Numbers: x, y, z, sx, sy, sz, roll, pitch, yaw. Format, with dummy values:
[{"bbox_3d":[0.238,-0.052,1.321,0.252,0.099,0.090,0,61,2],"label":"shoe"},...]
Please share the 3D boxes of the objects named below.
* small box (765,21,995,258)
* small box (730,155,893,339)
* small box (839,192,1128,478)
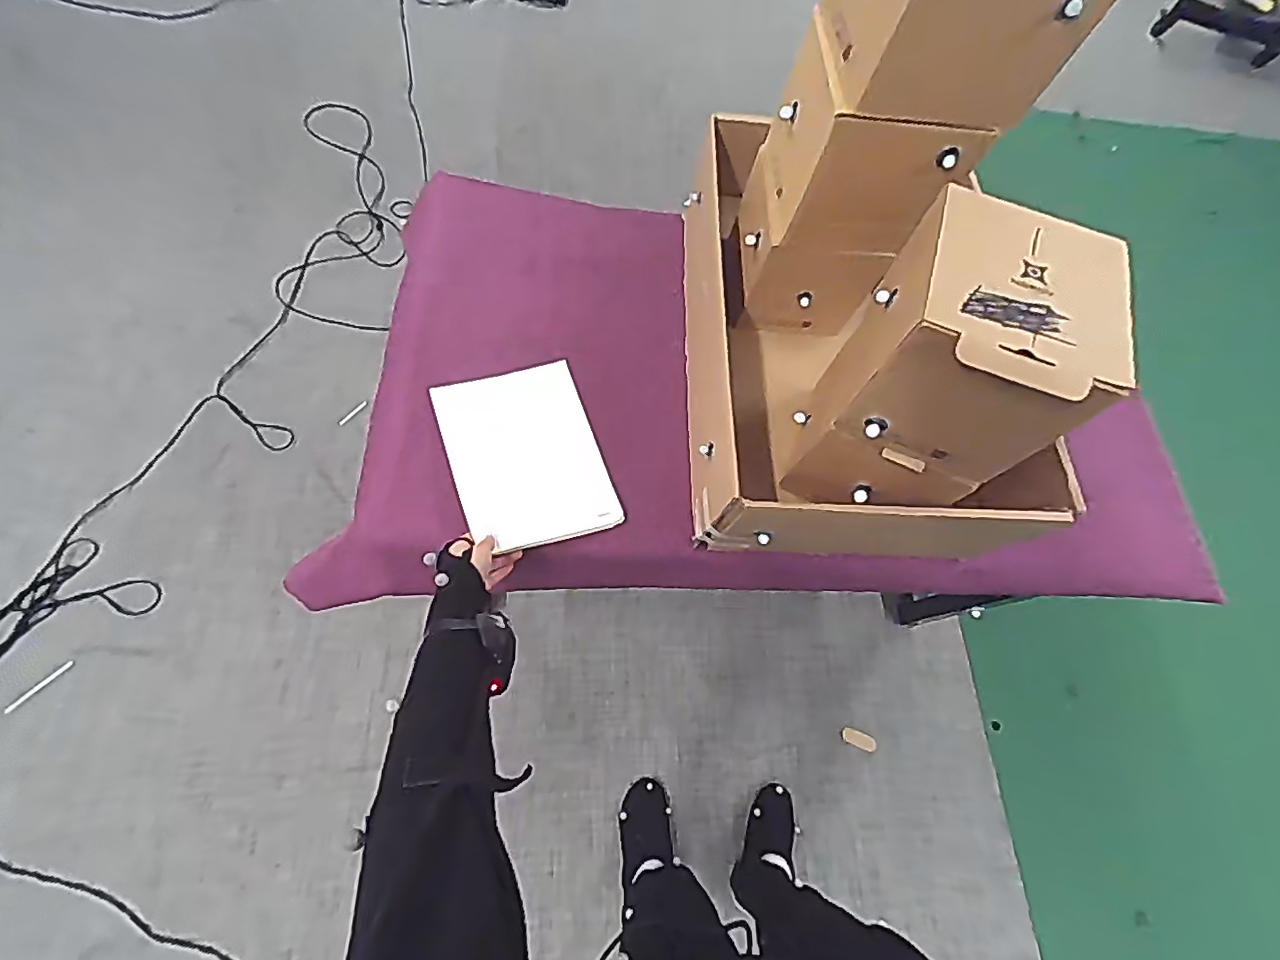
[{"bbox_3d":[0.254,-0.381,0.626,0.179,0.176,0.168,0,68,-7],"label":"small box"},{"bbox_3d":[0.232,-0.323,0.776,0.168,0.176,0.179,3,68,-6],"label":"small box"},{"bbox_3d":[0.310,-0.126,0.517,0.168,0.176,0.179,21,64,4],"label":"small box"}]
